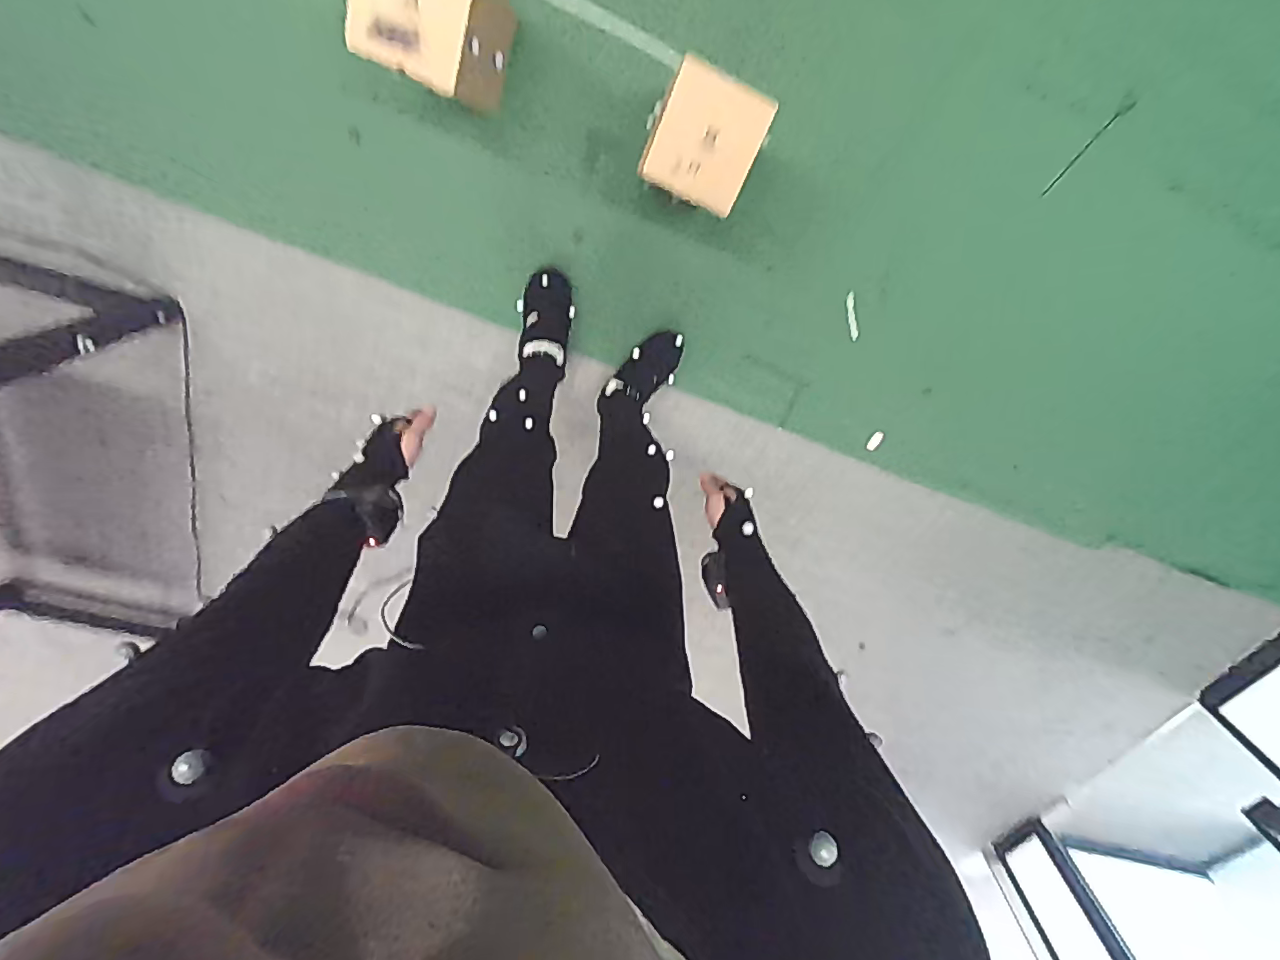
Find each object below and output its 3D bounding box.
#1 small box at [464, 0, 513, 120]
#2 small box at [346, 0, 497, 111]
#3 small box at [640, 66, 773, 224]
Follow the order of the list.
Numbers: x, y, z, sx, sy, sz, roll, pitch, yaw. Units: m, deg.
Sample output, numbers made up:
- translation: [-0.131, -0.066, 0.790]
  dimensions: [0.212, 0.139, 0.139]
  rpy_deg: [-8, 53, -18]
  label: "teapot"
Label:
- translation: [-0.343, -0.803, 1.003]
  dimensions: [0.168, 0.176, 0.179]
  rpy_deg: [19, 118, -12]
  label: "small box"
- translation: [-0.339, -0.721, 0.861]
  dimensions: [0.168, 0.176, 0.179]
  rpy_deg: [19, 118, -12]
  label: "small box"
- translation: [0.104, -0.580, 0.954]
  dimensions: [0.168, 0.176, 0.179]
  rpy_deg: [20, 118, -13]
  label: "small box"
